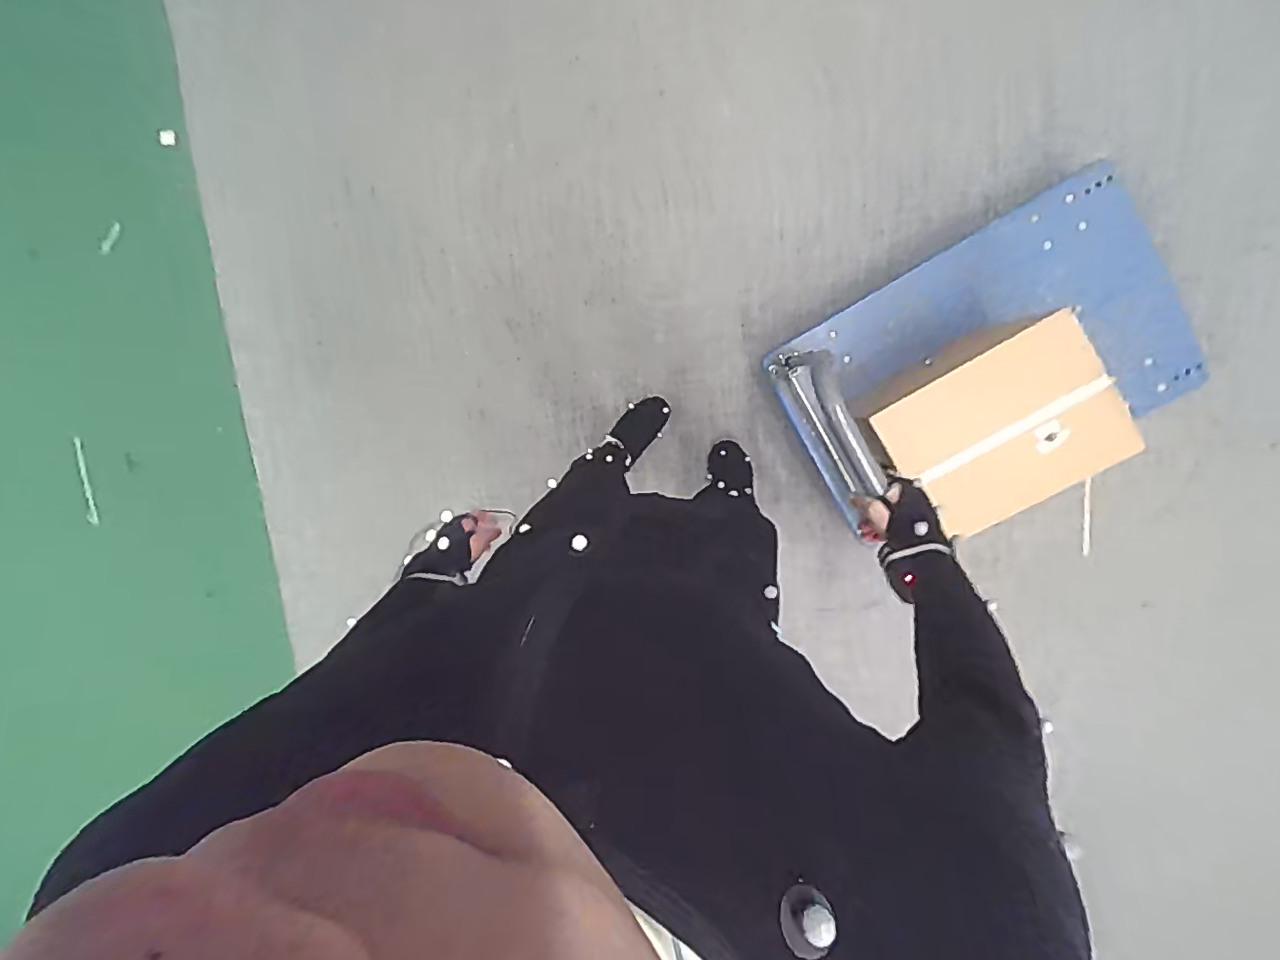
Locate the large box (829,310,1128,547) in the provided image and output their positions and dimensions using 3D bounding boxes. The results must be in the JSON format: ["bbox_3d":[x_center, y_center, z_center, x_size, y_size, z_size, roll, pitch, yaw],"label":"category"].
[{"bbox_3d":[0.703,-0.110,1.197,0.408,0.320,0.320,-30,96,9],"label":"large box"}]
